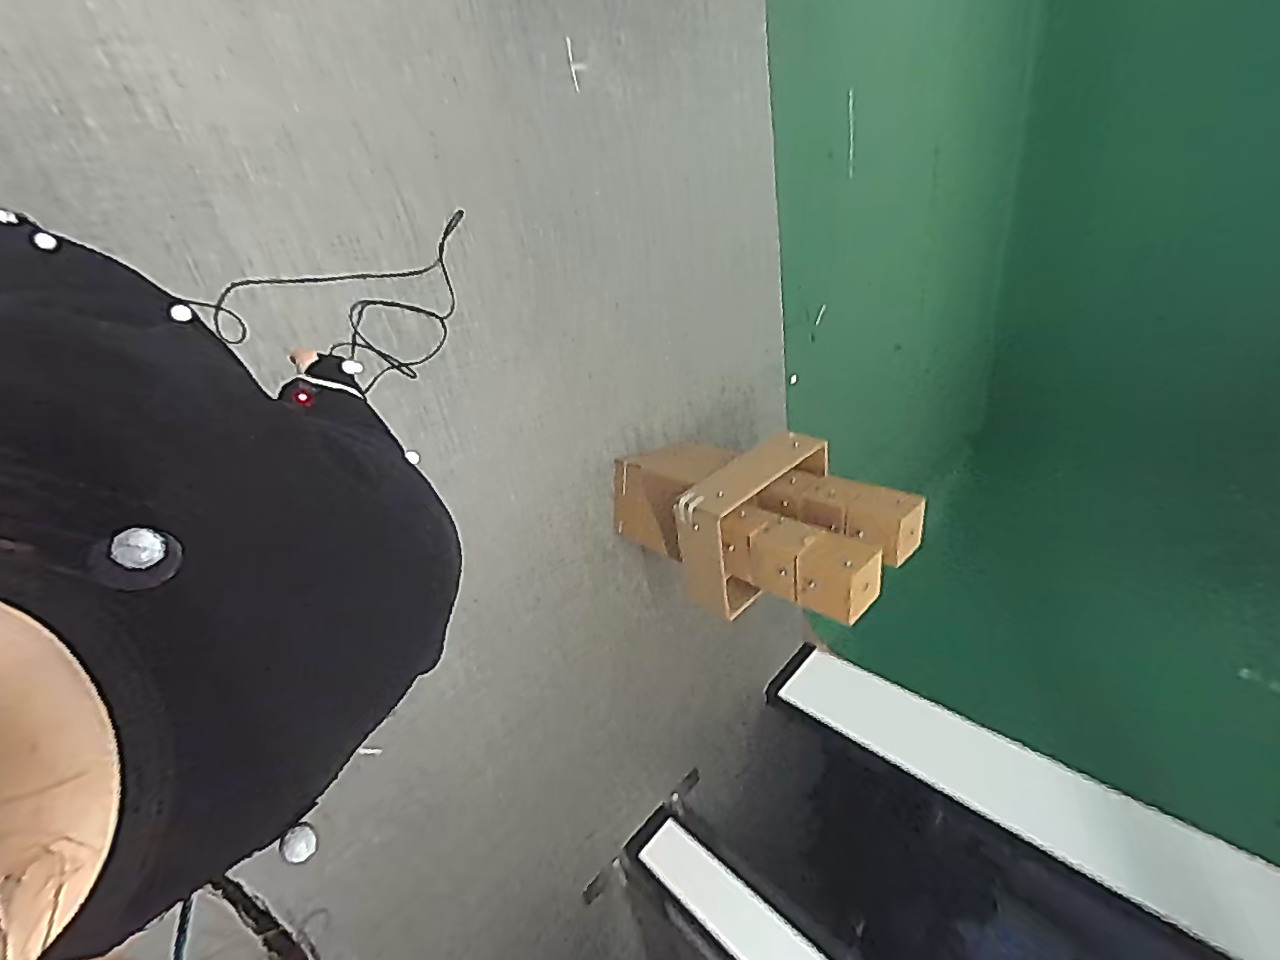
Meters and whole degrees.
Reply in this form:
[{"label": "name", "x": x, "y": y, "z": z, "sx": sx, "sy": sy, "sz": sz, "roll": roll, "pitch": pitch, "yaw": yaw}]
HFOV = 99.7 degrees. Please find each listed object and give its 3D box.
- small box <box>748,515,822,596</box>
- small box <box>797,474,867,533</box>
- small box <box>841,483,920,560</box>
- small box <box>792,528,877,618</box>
[{"label": "small box", "x": 0.446, "y": 0.223, "z": 1.673, "sx": 0.168, "sy": 0.176, "sz": 0.179, "roll": -28, "pitch": 122, "yaw": -36}, {"label": "small box", "x": 0.647, "y": 0.092, "z": 1.830, "sx": 0.168, "sy": 0.176, "sz": 0.179, "roll": -29, "pitch": 123, "yaw": -34}, {"label": "small box", "x": 0.759, "y": 0.123, "z": 1.713, "sx": 0.179, "sy": 0.176, "sz": 0.168, "roll": -26, "pitch": 120, "yaw": -36}, {"label": "small box", "x": 0.561, "y": 0.260, "z": 1.564, "sx": 0.179, "sy": 0.176, "sz": 0.168, "roll": -28, "pitch": 122, "yaw": -35}]
